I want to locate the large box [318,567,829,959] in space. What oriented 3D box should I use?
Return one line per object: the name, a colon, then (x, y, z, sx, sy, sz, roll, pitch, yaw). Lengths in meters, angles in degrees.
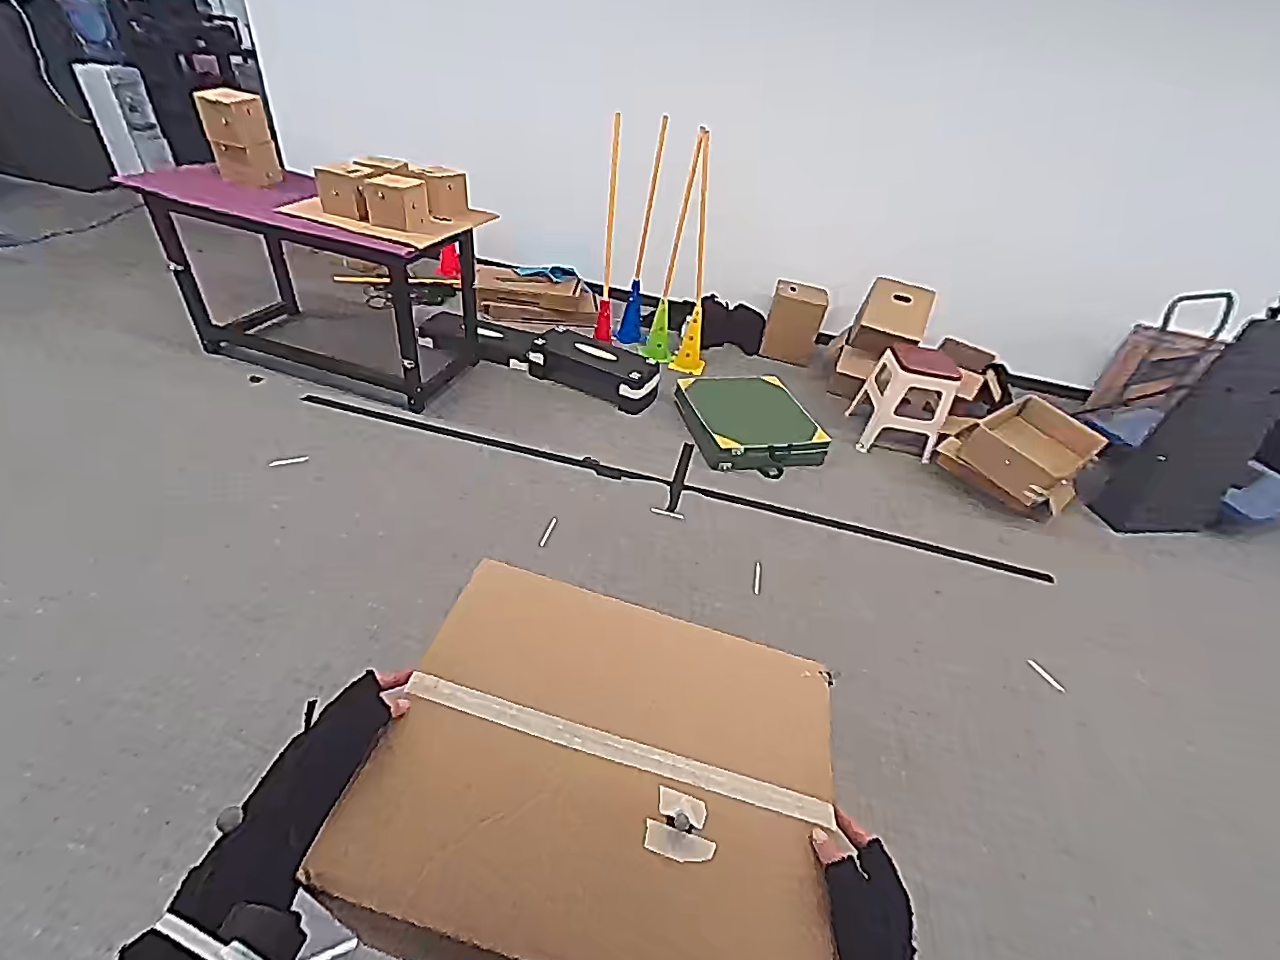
large box: (-0.050, 0.356, 0.603, 0.408, 0.320, 0.320, 17, 43, 2)
